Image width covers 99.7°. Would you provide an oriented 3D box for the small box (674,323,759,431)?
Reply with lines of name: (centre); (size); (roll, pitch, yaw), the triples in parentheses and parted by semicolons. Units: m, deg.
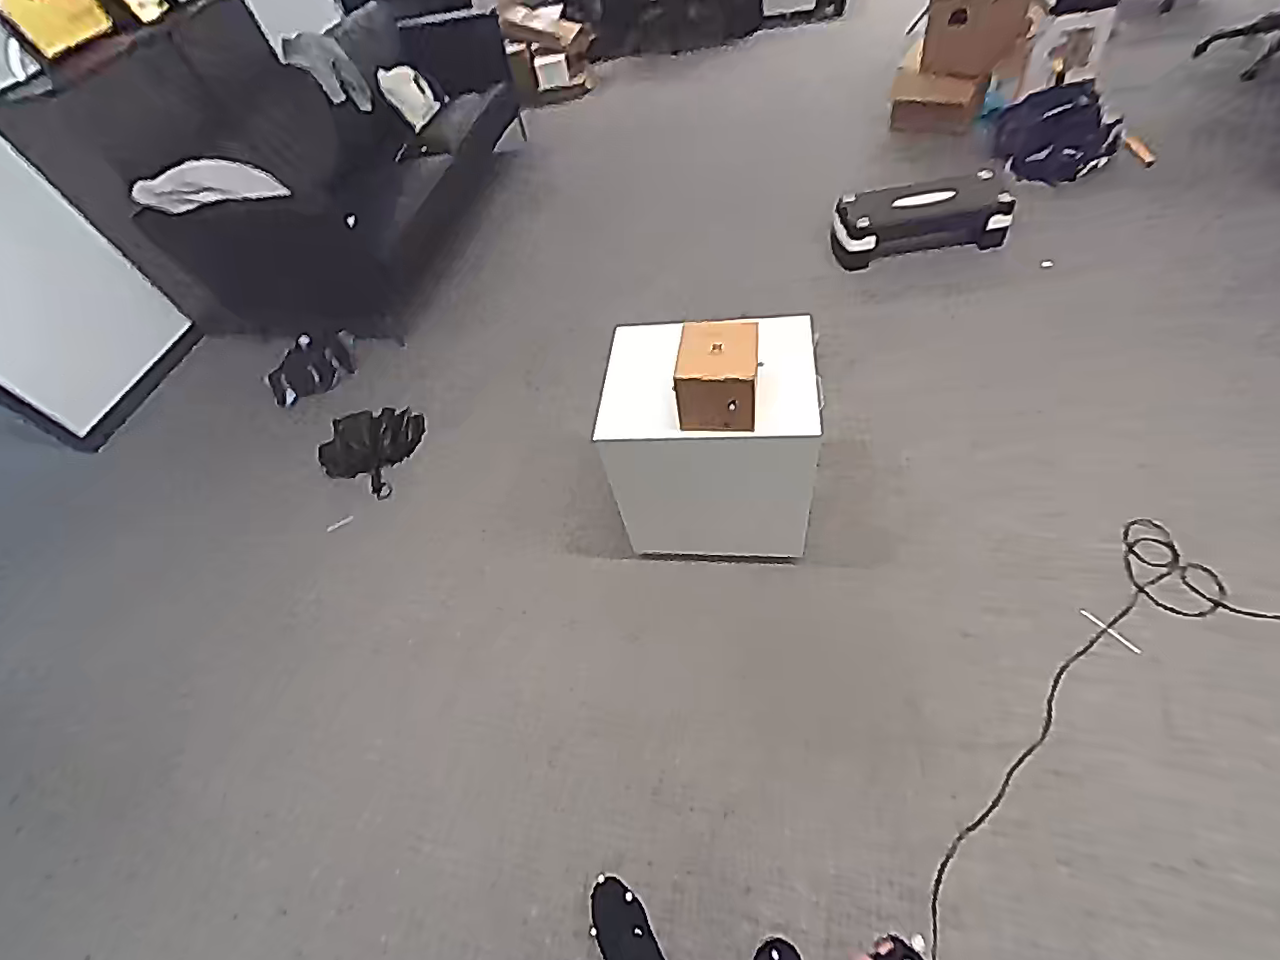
small box: (0.173, -0.223, 1.192); (0.168, 0.176, 0.179); (3, 53, 12)
